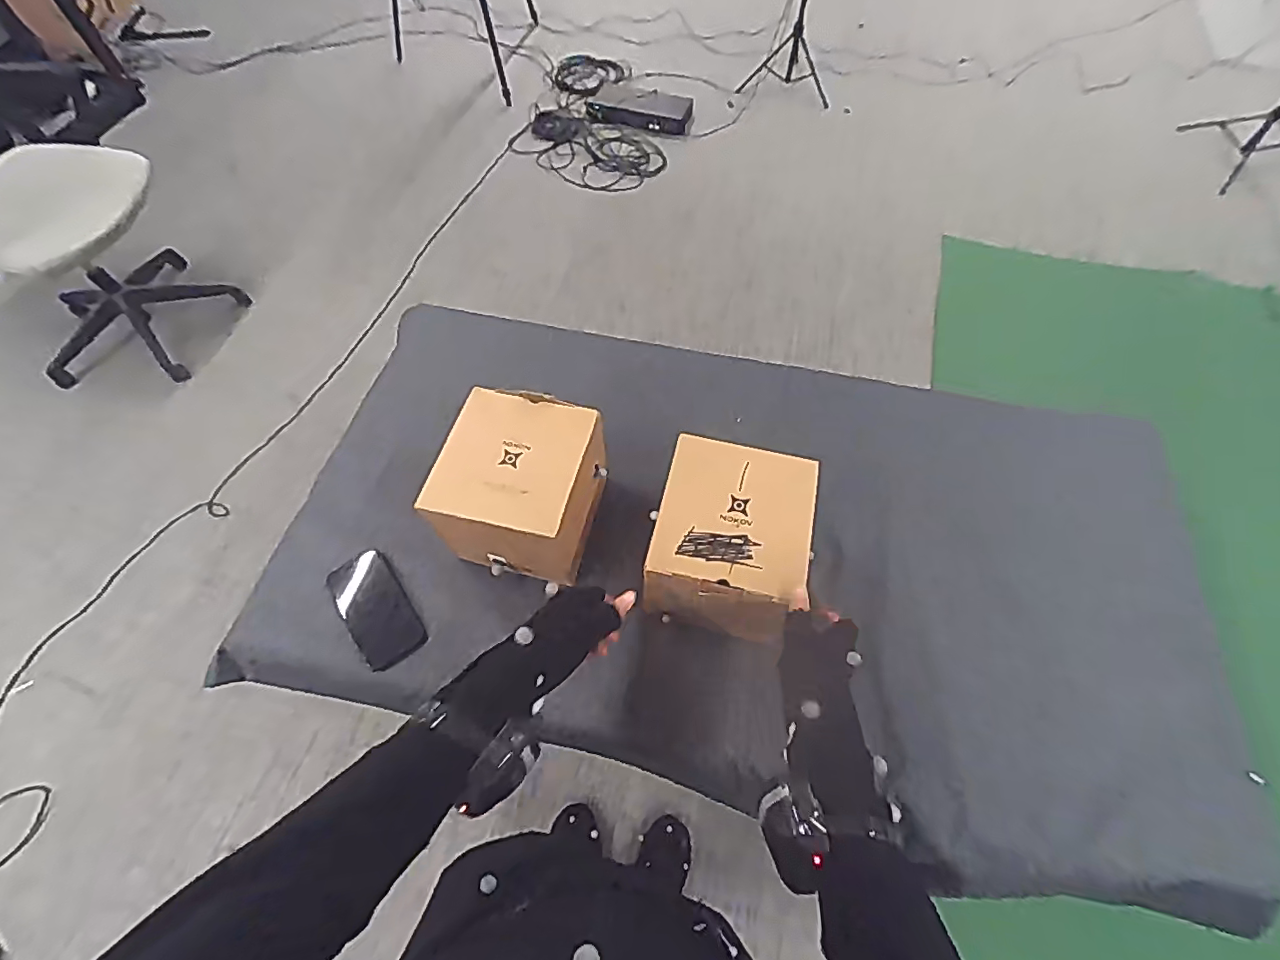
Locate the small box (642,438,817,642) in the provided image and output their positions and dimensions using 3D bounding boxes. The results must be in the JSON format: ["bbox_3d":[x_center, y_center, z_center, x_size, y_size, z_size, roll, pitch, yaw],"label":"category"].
[{"bbox_3d":[0.104,0.079,0.656,0.168,0.176,0.179,13,60,7],"label":"small box"}]

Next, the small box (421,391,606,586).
[{"bbox_3d":[-0.144,0.016,0.696,0.168,0.176,0.179,10,62,8],"label":"small box"}]
